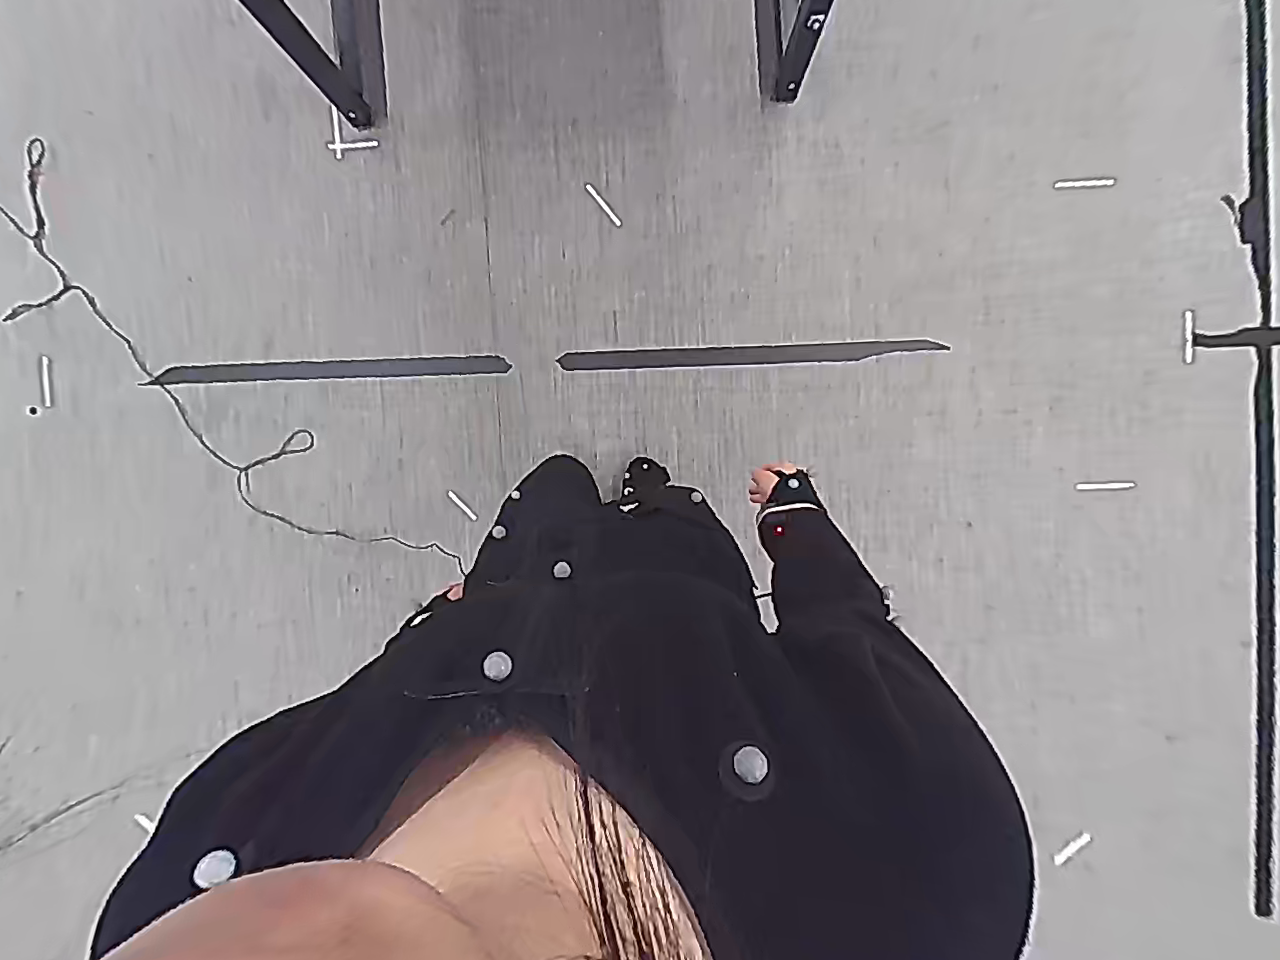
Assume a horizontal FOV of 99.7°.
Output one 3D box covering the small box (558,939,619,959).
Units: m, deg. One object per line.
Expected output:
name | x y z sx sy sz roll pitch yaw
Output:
small box | -0.144 1.403 1.477 0.168 0.176 0.179 -5 93 2
